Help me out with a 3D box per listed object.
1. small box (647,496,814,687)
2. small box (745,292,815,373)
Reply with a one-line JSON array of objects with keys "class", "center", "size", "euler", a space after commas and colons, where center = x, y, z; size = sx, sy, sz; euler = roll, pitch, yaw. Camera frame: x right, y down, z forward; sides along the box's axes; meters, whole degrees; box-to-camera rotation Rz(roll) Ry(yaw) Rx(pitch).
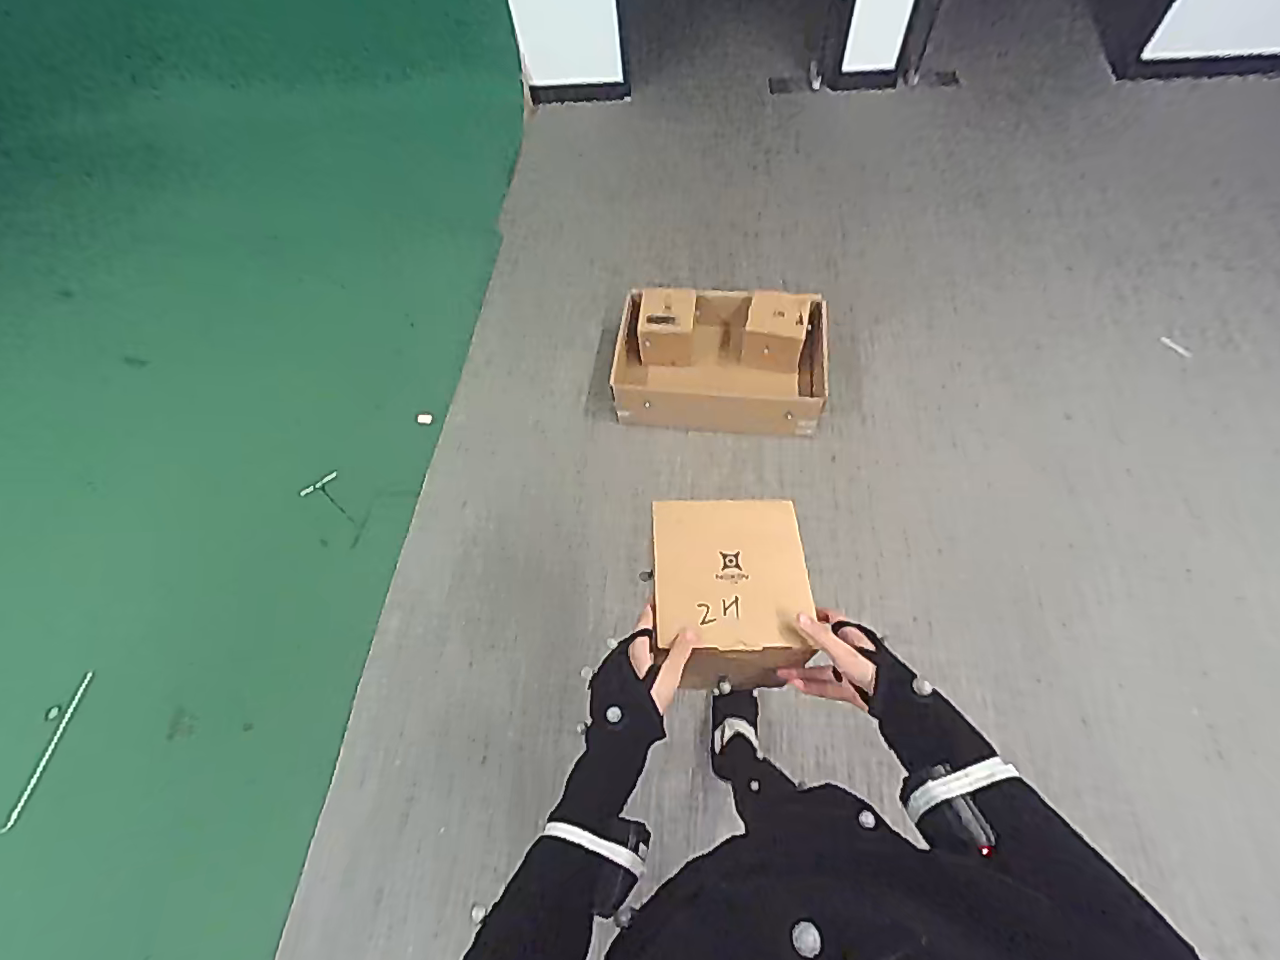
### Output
[{"class": "small box", "center": [0.092, 0.137, 0.649], "size": [0.168, 0.176, 0.179], "euler": [0, 56, 0]}, {"class": "small box", "center": [0.425, -0.448, 1.661], "size": [0.179, 0.176, 0.168], "euler": [12, 66, 13]}]
